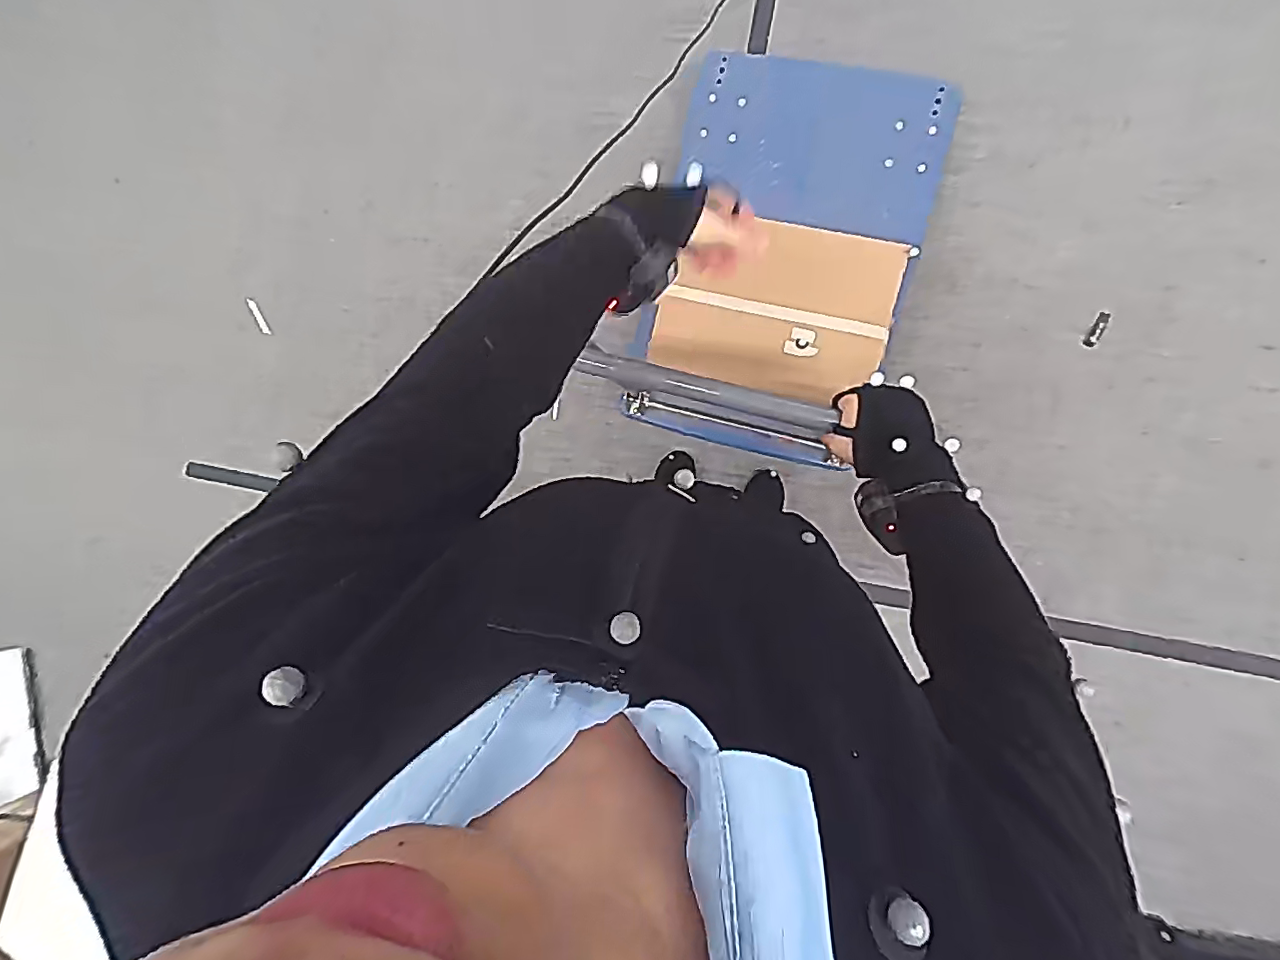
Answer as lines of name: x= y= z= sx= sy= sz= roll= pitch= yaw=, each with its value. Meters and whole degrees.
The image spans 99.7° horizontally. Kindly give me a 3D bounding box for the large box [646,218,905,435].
large box: x=0.255 y=-0.292 z=1.117 sx=0.408 sy=0.320 sz=0.320 roll=15 pitch=95 yaw=8
